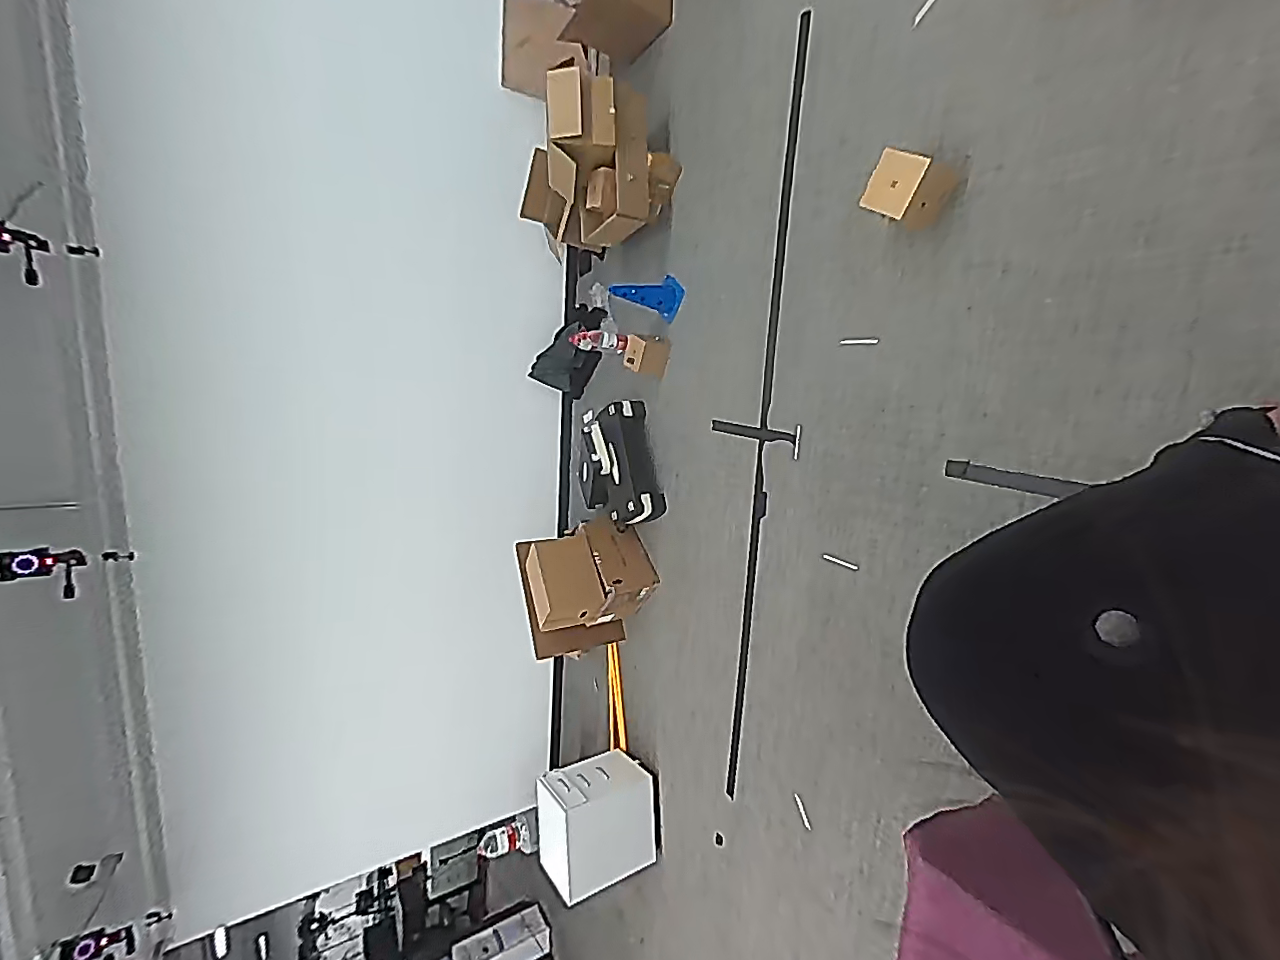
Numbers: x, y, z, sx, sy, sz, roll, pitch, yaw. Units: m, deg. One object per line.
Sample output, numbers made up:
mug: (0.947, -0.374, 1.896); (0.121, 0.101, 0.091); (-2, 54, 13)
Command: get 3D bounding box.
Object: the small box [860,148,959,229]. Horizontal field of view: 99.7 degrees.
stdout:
small box: (0.818, -0.880, 1.639); (0.179, 0.176, 0.168); (53, 135, 42)
